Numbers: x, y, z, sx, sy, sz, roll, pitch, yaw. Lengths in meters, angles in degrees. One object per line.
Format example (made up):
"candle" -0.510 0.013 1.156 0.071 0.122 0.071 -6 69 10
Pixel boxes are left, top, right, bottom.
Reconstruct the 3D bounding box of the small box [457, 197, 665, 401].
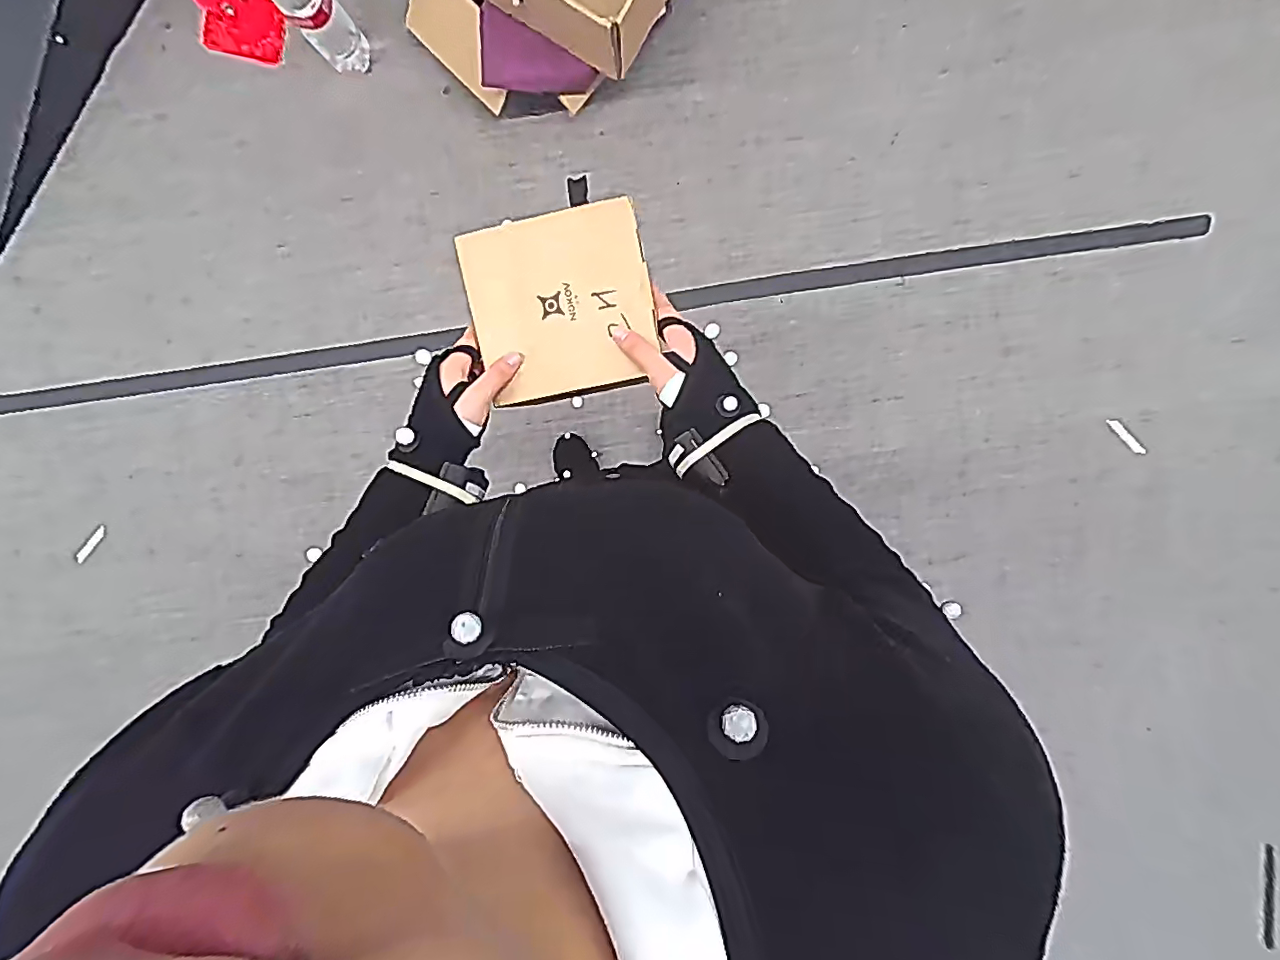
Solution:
"small box" -0.071 -0.181 0.596 0.179 0.176 0.168 -11 99 4
